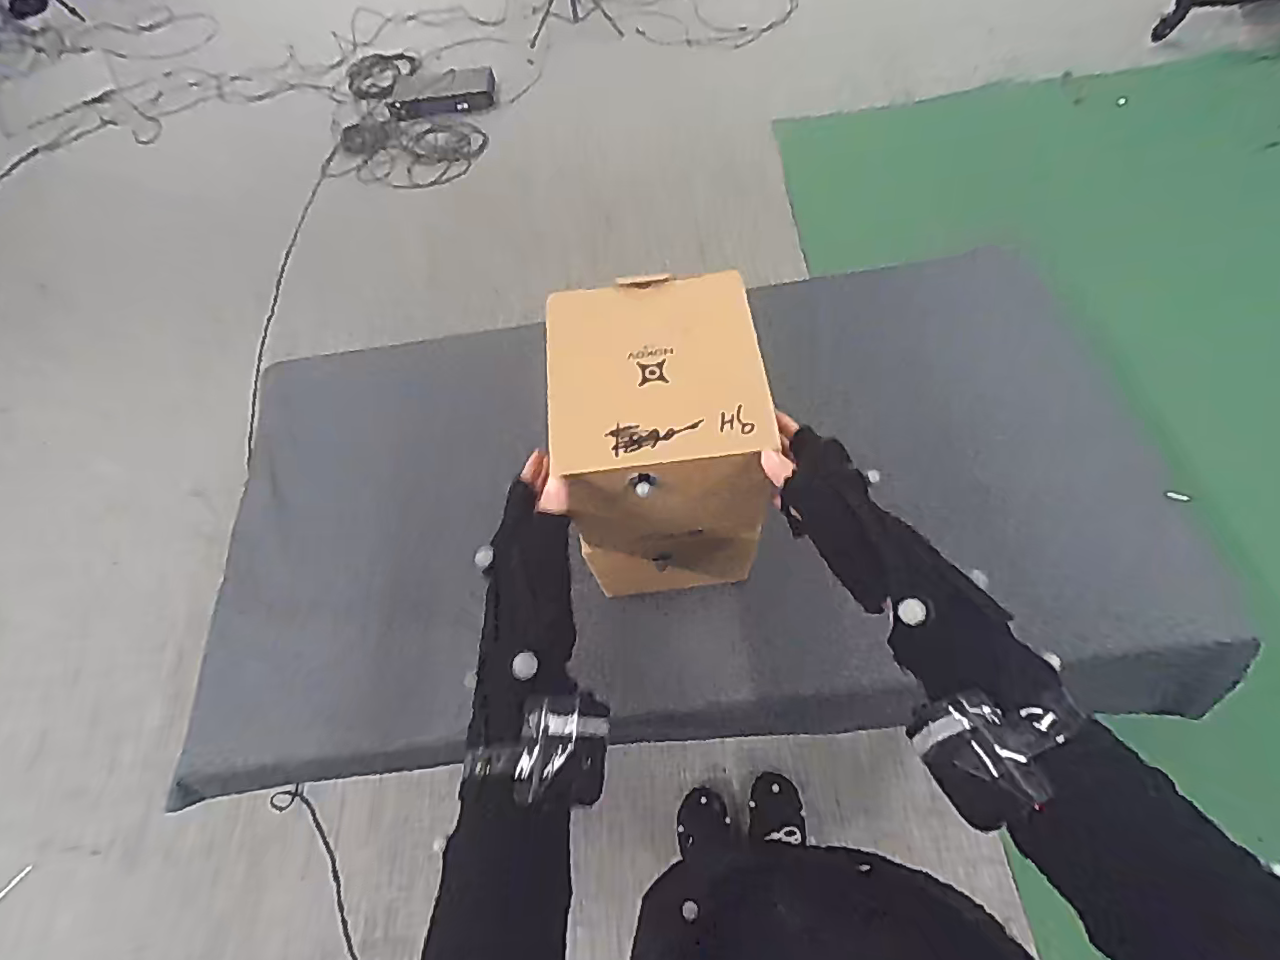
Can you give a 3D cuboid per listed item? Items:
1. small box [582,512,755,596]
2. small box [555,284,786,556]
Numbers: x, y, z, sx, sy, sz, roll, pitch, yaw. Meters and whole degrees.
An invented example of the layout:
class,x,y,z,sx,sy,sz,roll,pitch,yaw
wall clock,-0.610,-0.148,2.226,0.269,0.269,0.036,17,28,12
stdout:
class,x,y,z,sx,sy,sz,roll,pitch,yaw
small box,0.031,0.030,0.641,0.179,0.176,0.168,-8,62,2
small box,0.020,-0.047,0.499,0.168,0.176,0.179,-9,63,0
